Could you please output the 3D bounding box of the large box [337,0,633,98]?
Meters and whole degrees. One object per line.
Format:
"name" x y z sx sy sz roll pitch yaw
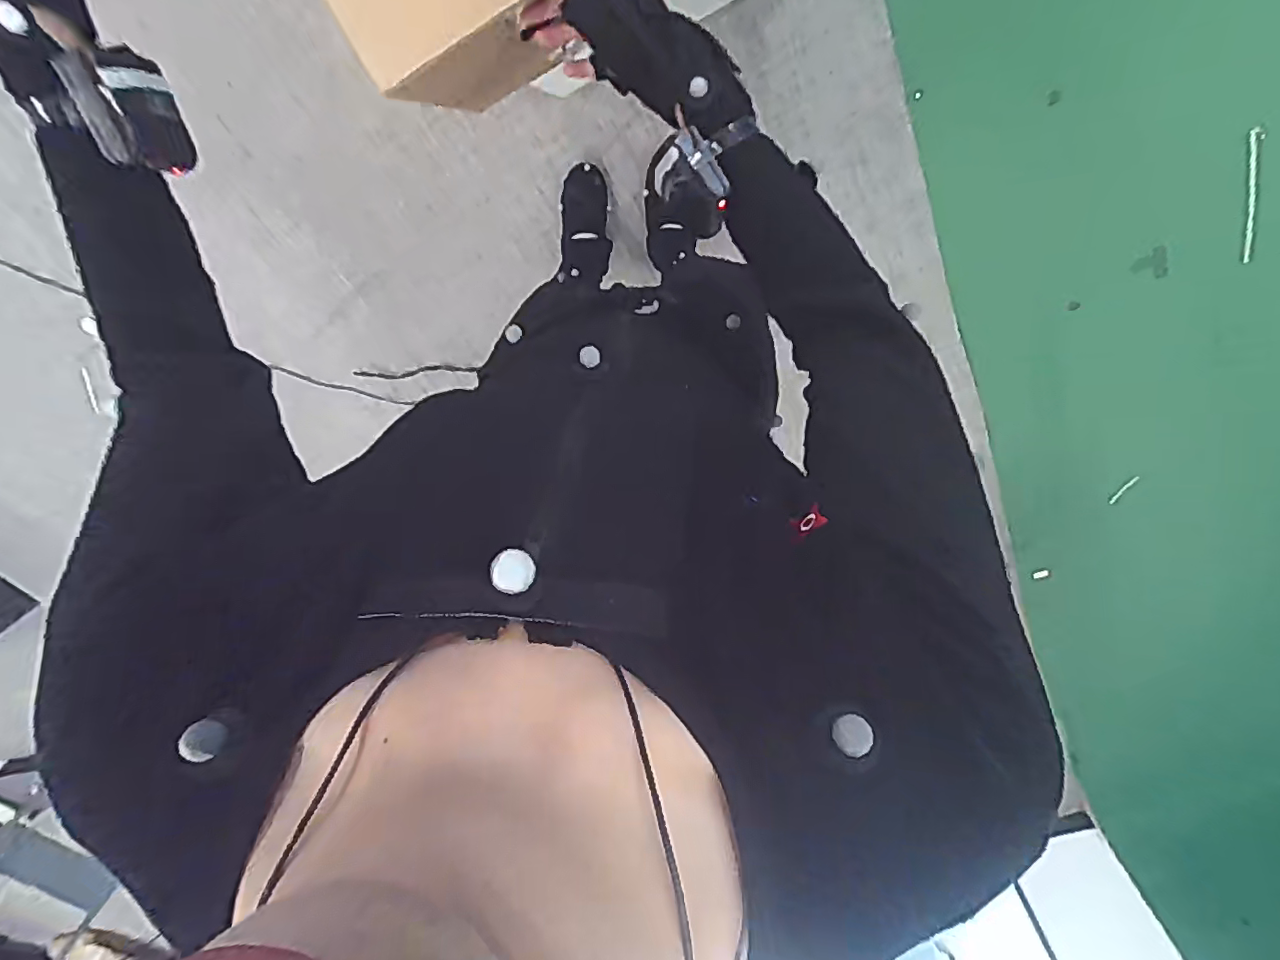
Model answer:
"large box" -0.150 -0.603 0.421 0.320 0.320 0.408 -22 119 14
